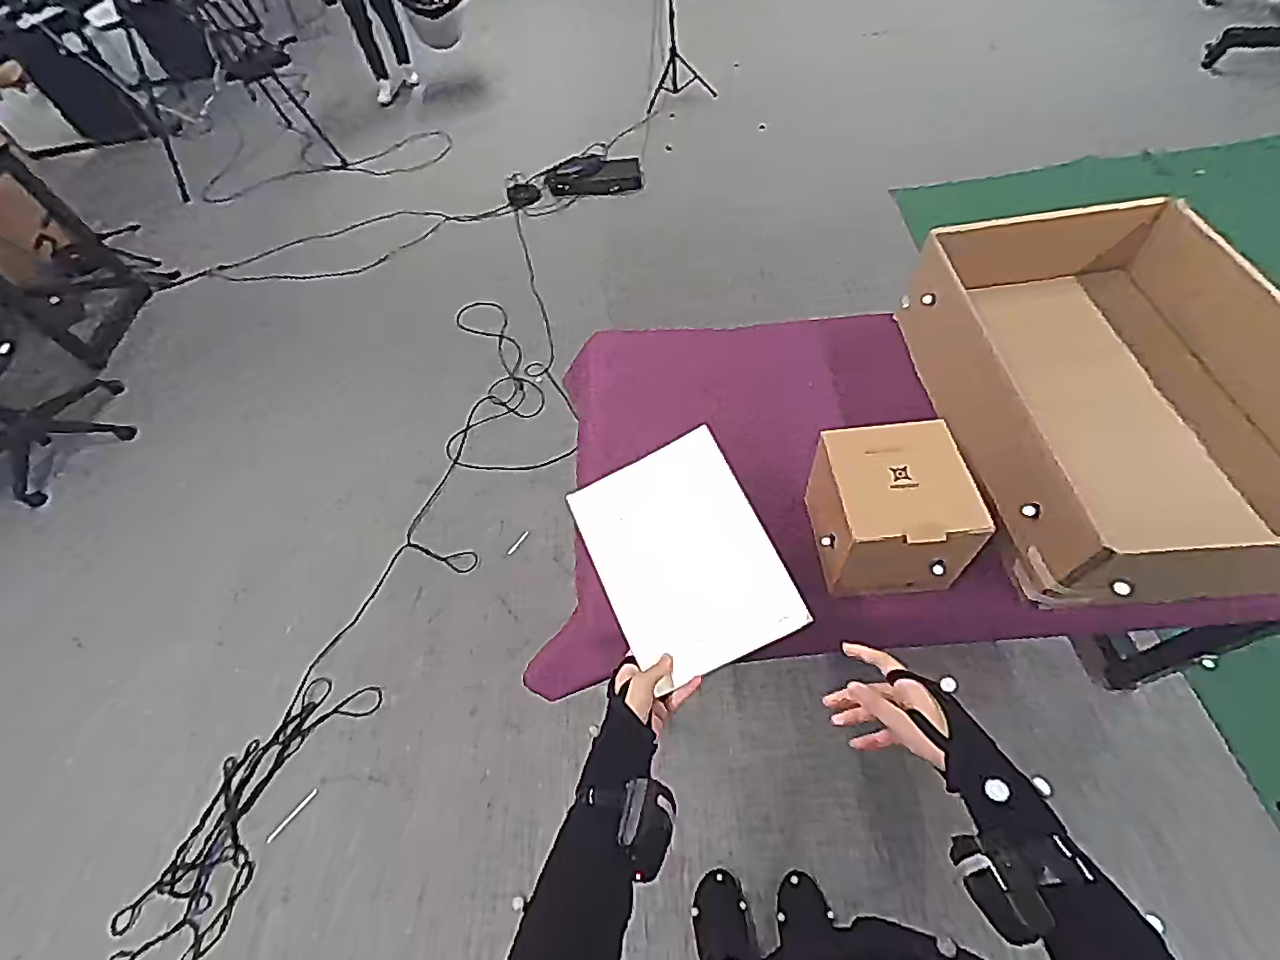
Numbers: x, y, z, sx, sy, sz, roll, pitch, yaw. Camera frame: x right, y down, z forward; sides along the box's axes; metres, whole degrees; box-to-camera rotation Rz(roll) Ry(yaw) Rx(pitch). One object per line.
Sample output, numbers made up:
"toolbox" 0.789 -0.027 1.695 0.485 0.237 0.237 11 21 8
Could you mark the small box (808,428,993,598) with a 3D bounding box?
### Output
"small box" 0.340 0.054 0.746 0.168 0.176 0.179 -5 53 4
